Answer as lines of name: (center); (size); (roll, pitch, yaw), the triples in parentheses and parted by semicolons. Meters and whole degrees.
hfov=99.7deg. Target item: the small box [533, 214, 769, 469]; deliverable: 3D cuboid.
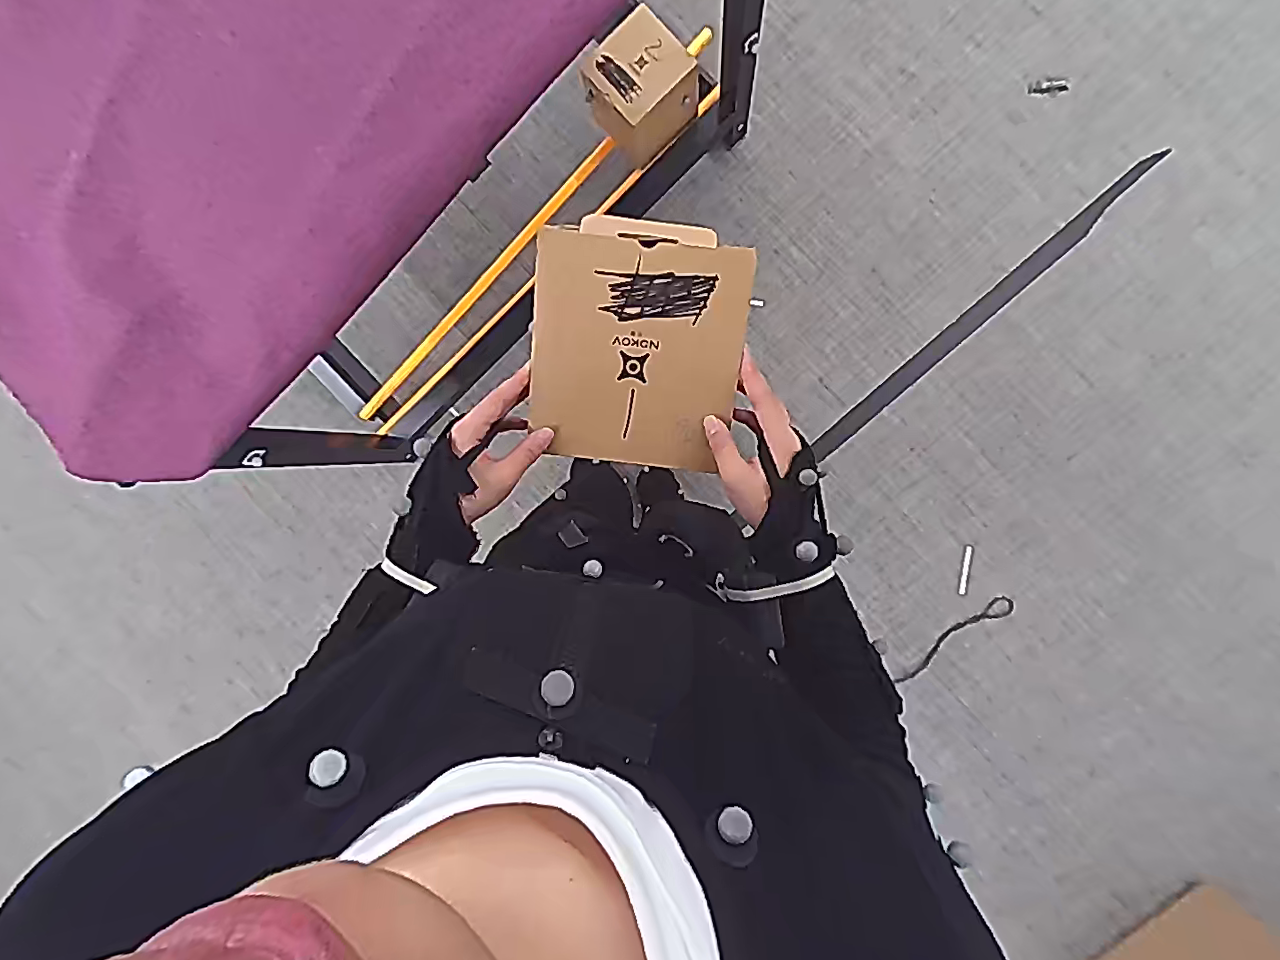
small box: (0.006, -0.120, 0.493); (0.168, 0.176, 0.179); (7, 104, 0)
